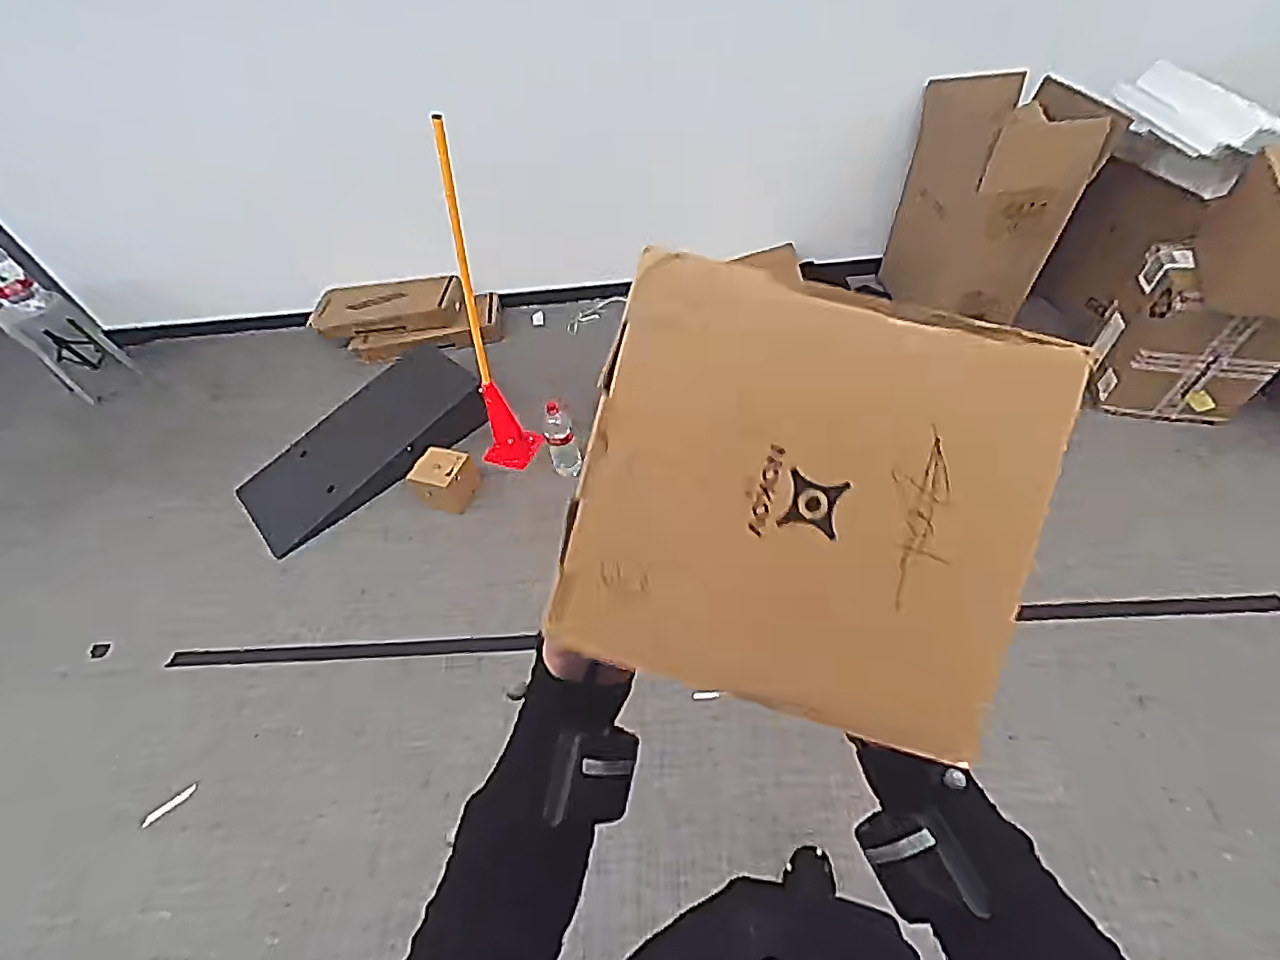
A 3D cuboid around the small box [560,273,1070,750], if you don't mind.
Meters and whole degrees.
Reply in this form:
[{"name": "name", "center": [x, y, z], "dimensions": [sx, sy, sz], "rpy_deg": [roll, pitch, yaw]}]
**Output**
[{"name": "small box", "center": [0.073, 0.010, 0.300], "dimensions": [0.179, 0.176, 0.168], "rpy_deg": [13, 93, 3]}]
